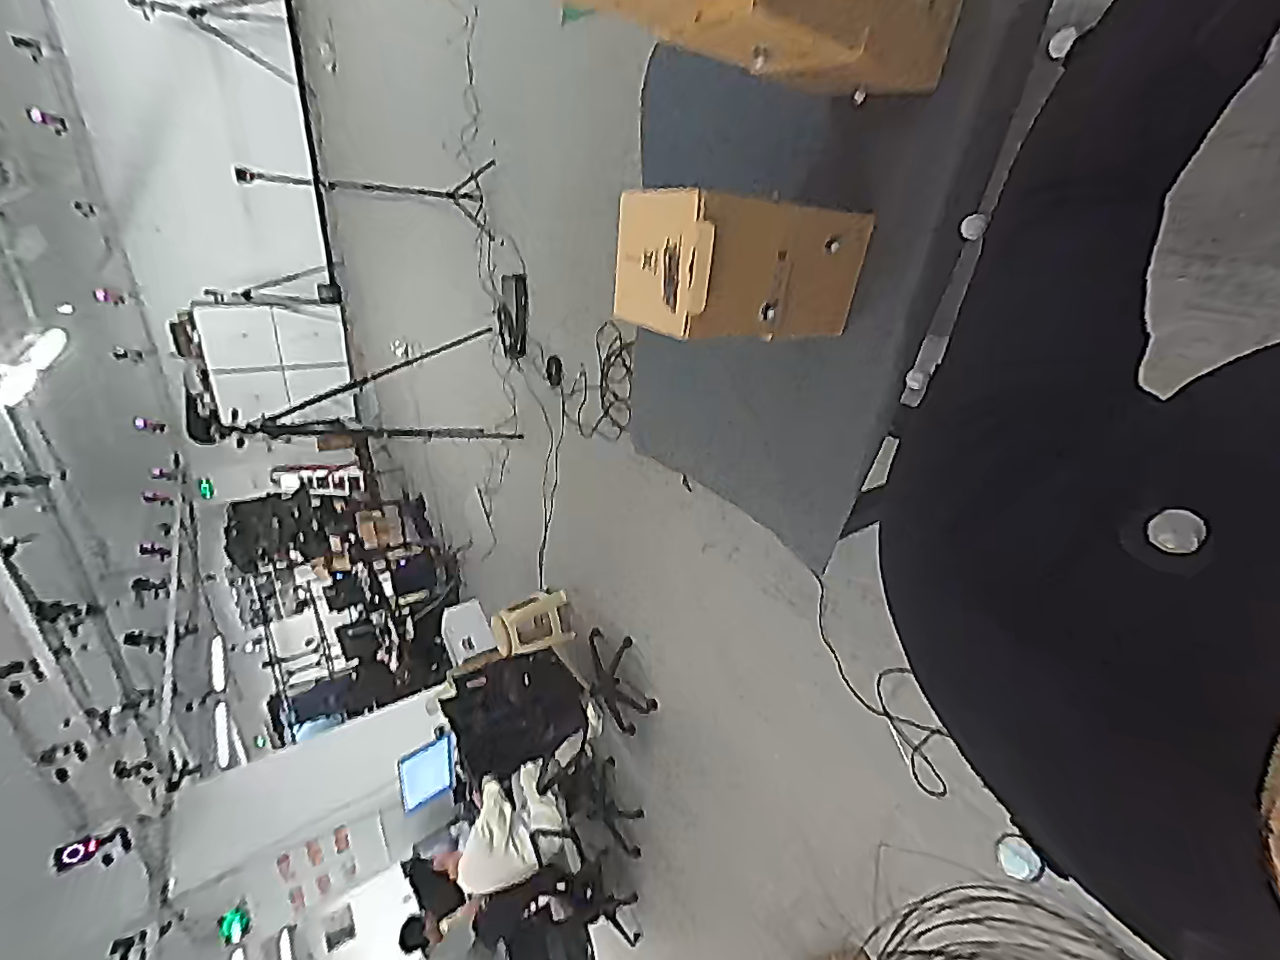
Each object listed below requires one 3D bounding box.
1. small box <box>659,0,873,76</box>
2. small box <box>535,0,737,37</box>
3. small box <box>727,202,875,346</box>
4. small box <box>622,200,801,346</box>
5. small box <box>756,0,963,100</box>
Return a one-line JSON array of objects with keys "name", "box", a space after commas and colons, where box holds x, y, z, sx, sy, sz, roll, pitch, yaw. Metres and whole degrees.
[{"name": "small box", "box": [0.143, -0.560, 0.573, 0.168, 0.176, 0.179, 37, 131, 46]}, {"name": "small box", "box": [0.012, -0.532, 0.475, 0.179, 0.176, 0.168, 27, 123, 51]}, {"name": "small box", "box": [0.229, -0.318, 0.831, 0.168, 0.176, 0.179, 38, 132, 45]}, {"name": "small box", "box": [0.093, -0.288, 0.745, 0.179, 0.176, 0.168, 35, 129, 48]}, {"name": "small box", "box": [0.276, -0.582, 0.665, 0.179, 0.176, 0.168, 38, 131, 44]}]
